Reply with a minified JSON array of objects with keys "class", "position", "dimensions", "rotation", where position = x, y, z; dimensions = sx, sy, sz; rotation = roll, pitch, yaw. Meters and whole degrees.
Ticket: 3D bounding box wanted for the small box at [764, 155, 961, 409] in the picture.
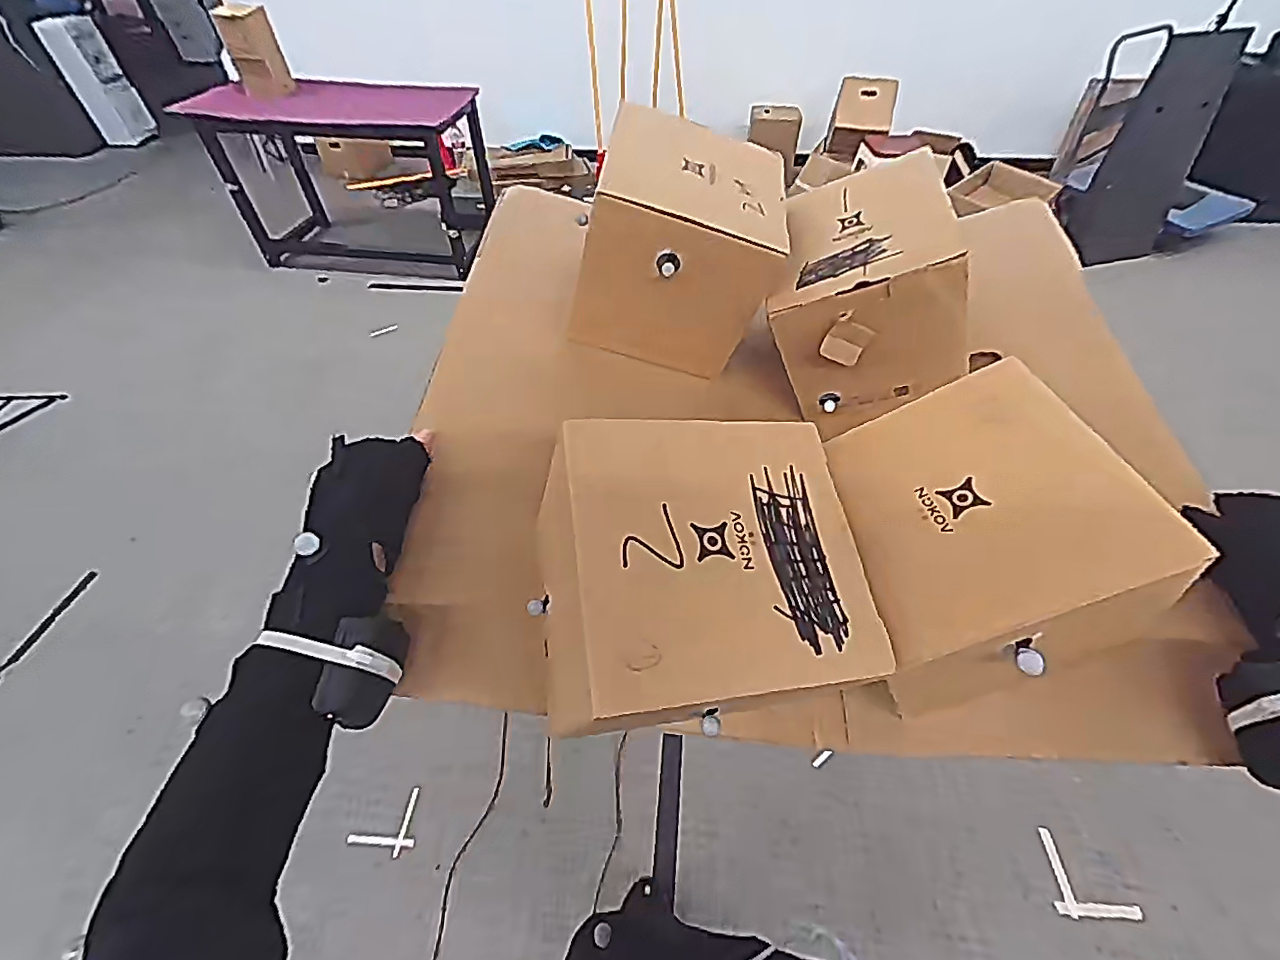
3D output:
[{"class":"small box","position":[0.237,-0.195,0.581],"dimensions":[0.168,0.176,0.179],"rotation":[-10,53,25]}]
